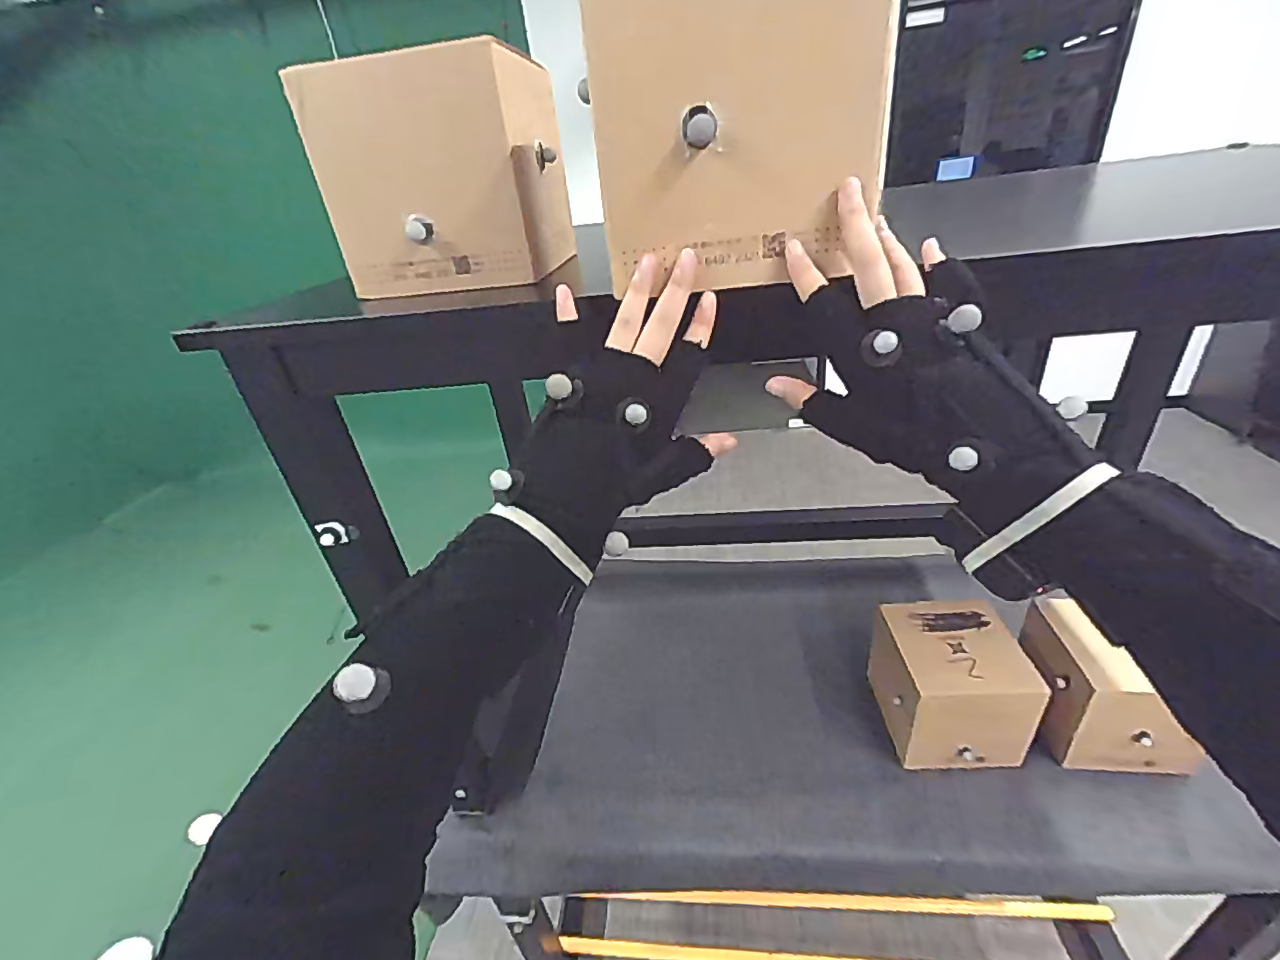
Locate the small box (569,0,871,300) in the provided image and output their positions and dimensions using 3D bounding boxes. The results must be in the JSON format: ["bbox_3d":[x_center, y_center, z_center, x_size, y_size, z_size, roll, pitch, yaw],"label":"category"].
[{"bbox_3d":[0.056,-0.232,0.390,0.168,0.176,0.179,-4,29,5],"label":"small box"}]

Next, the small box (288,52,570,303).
[{"bbox_3d":[-0.169,-0.270,0.504,0.168,0.176,0.179,-3,31,8],"label":"small box"}]
